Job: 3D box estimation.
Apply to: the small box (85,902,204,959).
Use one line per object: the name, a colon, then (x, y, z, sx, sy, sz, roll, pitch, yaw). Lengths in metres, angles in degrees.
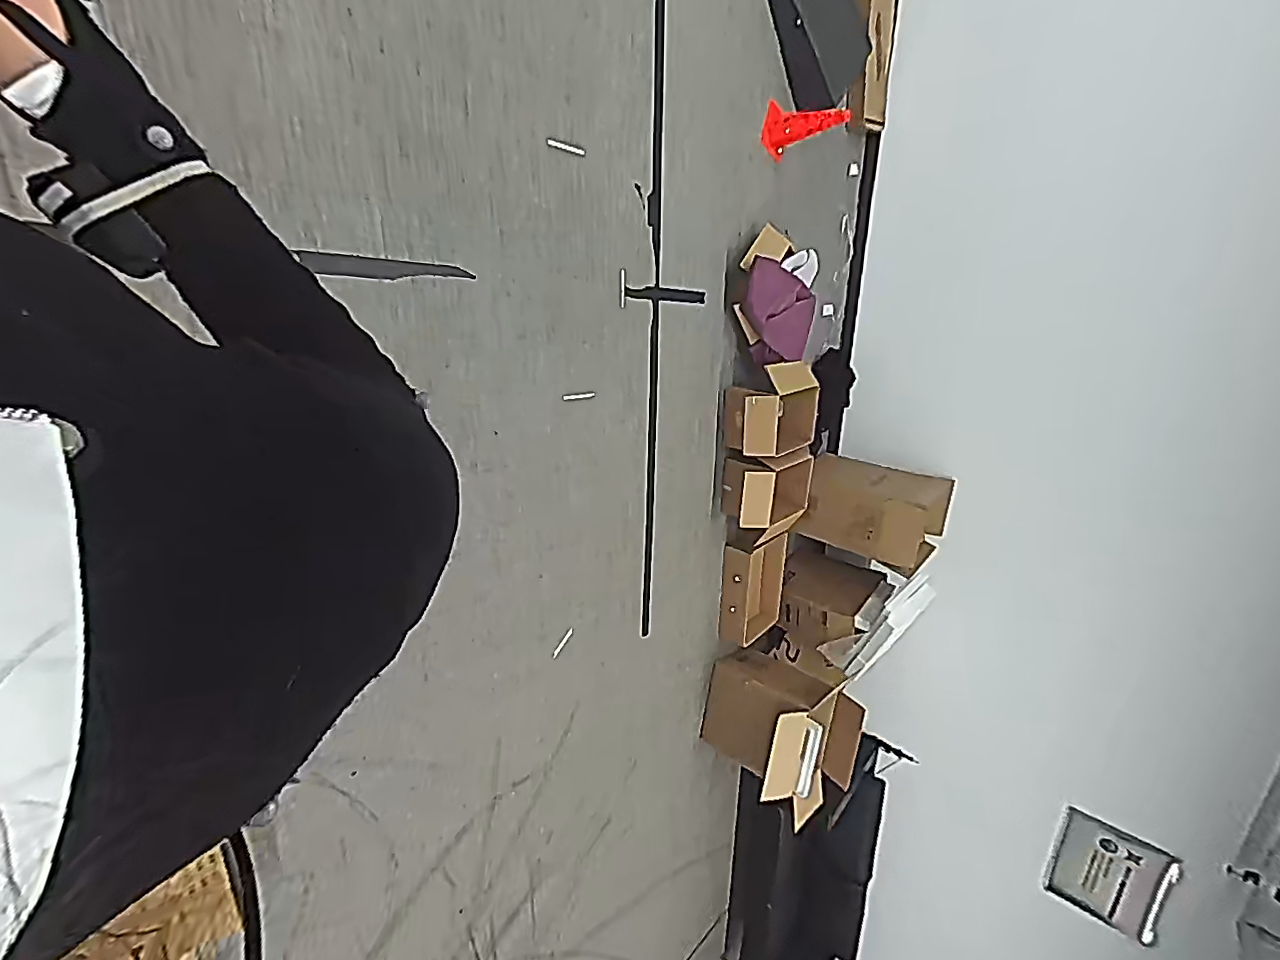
small box: (-1.083, 1.090, 1.193, 0.168, 0.176, 0.179, -20, 117, -44)
